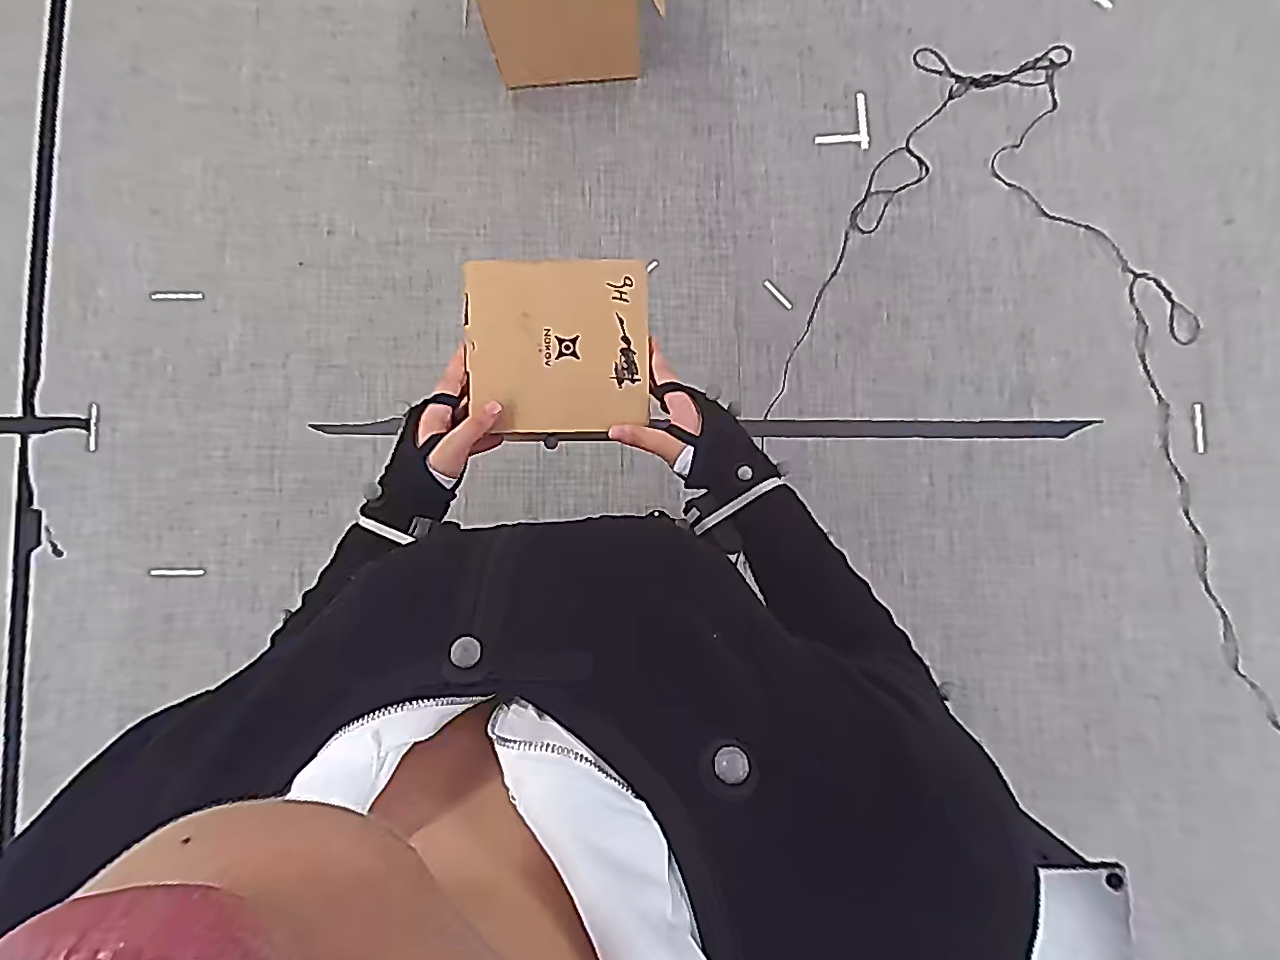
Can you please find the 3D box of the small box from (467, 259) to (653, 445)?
[{"bbox_3d":[-0.077,-0.125,0.588,0.179,0.176,0.168,-1,91,-3],"label":"small box"}]
